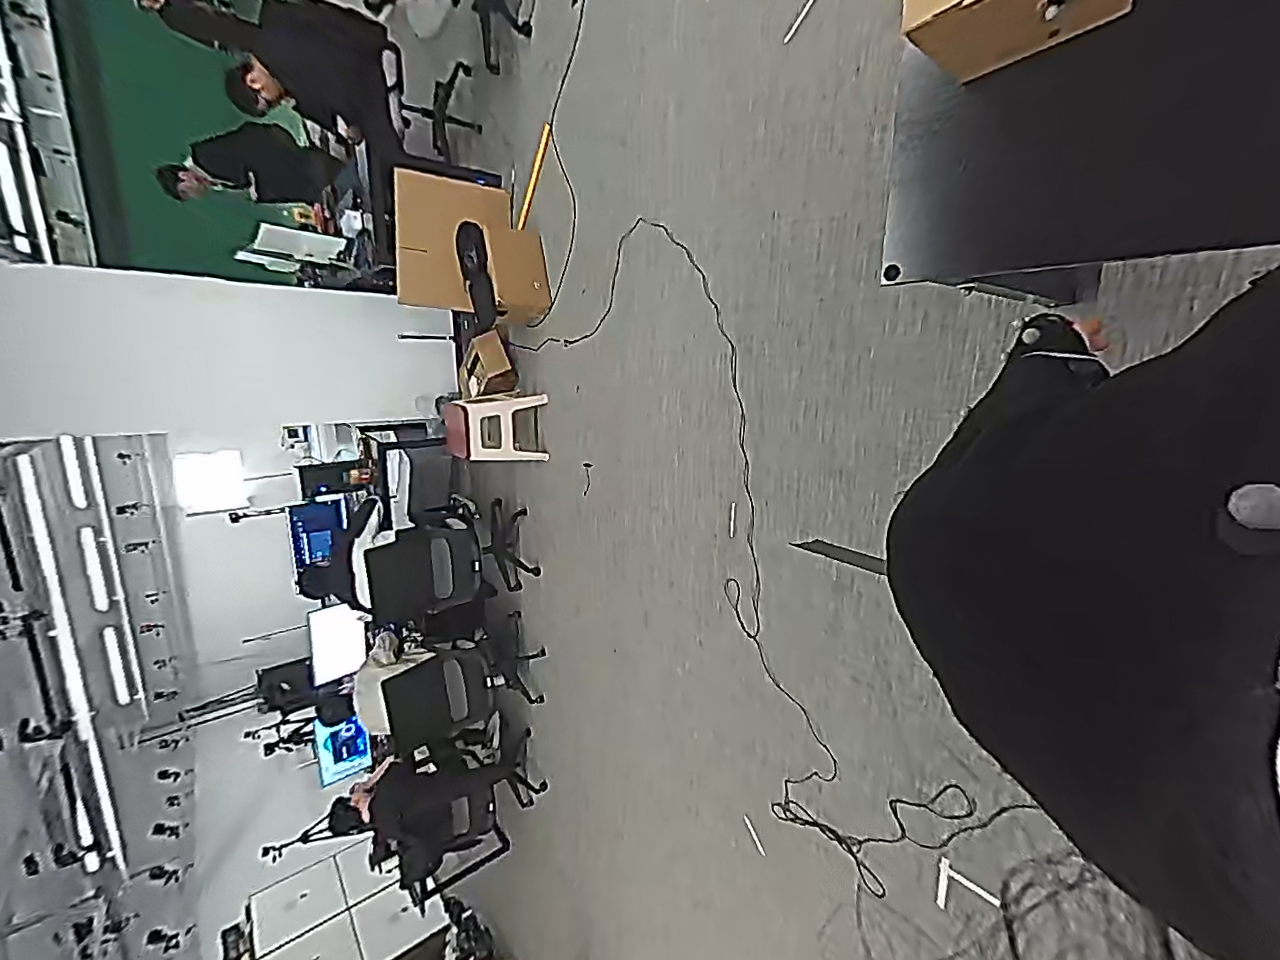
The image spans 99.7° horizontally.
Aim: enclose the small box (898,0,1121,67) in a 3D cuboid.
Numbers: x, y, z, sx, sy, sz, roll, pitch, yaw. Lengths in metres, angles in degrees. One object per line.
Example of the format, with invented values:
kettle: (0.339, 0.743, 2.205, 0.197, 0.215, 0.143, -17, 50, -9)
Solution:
small box: (0.388, -0.569, 0.557, 0.168, 0.176, 0.179, 8, 104, 49)
